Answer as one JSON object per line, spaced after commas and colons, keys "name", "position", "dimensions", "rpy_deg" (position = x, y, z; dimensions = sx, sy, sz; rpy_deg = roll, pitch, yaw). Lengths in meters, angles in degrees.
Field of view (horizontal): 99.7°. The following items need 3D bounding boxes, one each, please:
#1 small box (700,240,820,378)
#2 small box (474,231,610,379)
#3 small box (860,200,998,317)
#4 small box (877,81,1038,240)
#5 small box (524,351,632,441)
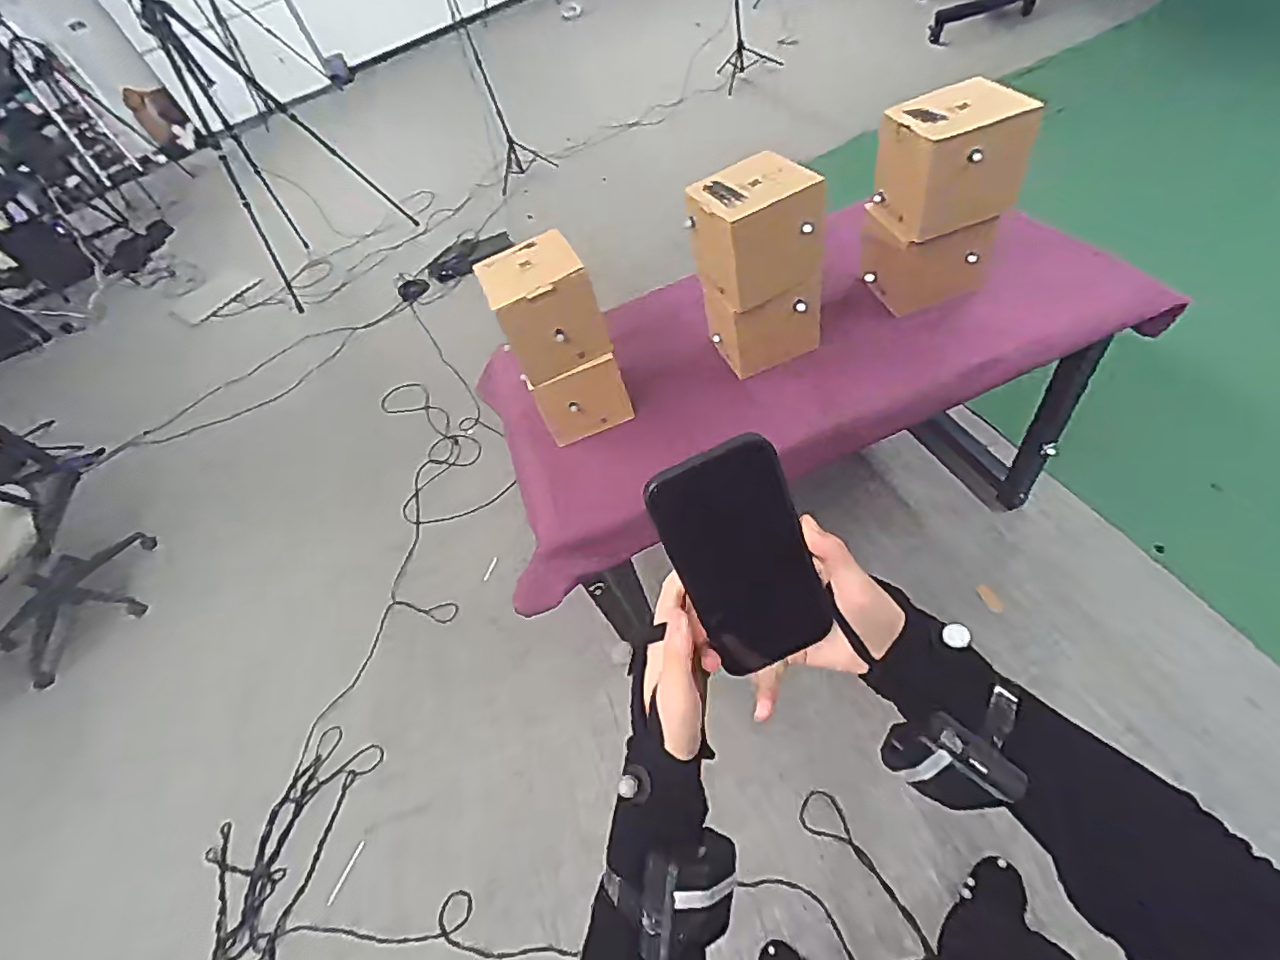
{"name": "small box", "position": [0.238, -0.336, 1.078], "dimensions": [0.179, 0.176, 0.168], "rpy_deg": [-23, 50, 0]}
{"name": "small box", "position": [-0.171, -0.304, 0.971], "dimensions": [0.168, 0.176, 0.179], "rpy_deg": [-26, 51, -3]}
{"name": "small box", "position": [0.557, -0.457, 1.071], "dimensions": [0.179, 0.176, 0.168], "rpy_deg": [-18, 50, 4]}
{"name": "small box", "position": [0.529, -0.547, 0.936], "dimensions": [0.179, 0.176, 0.168], "rpy_deg": [-18, 50, 3]}
{"name": "small box", "position": [-0.128, -0.200, 1.091], "dimensions": [0.168, 0.176, 0.179], "rpy_deg": [-22, 50, 0]}
